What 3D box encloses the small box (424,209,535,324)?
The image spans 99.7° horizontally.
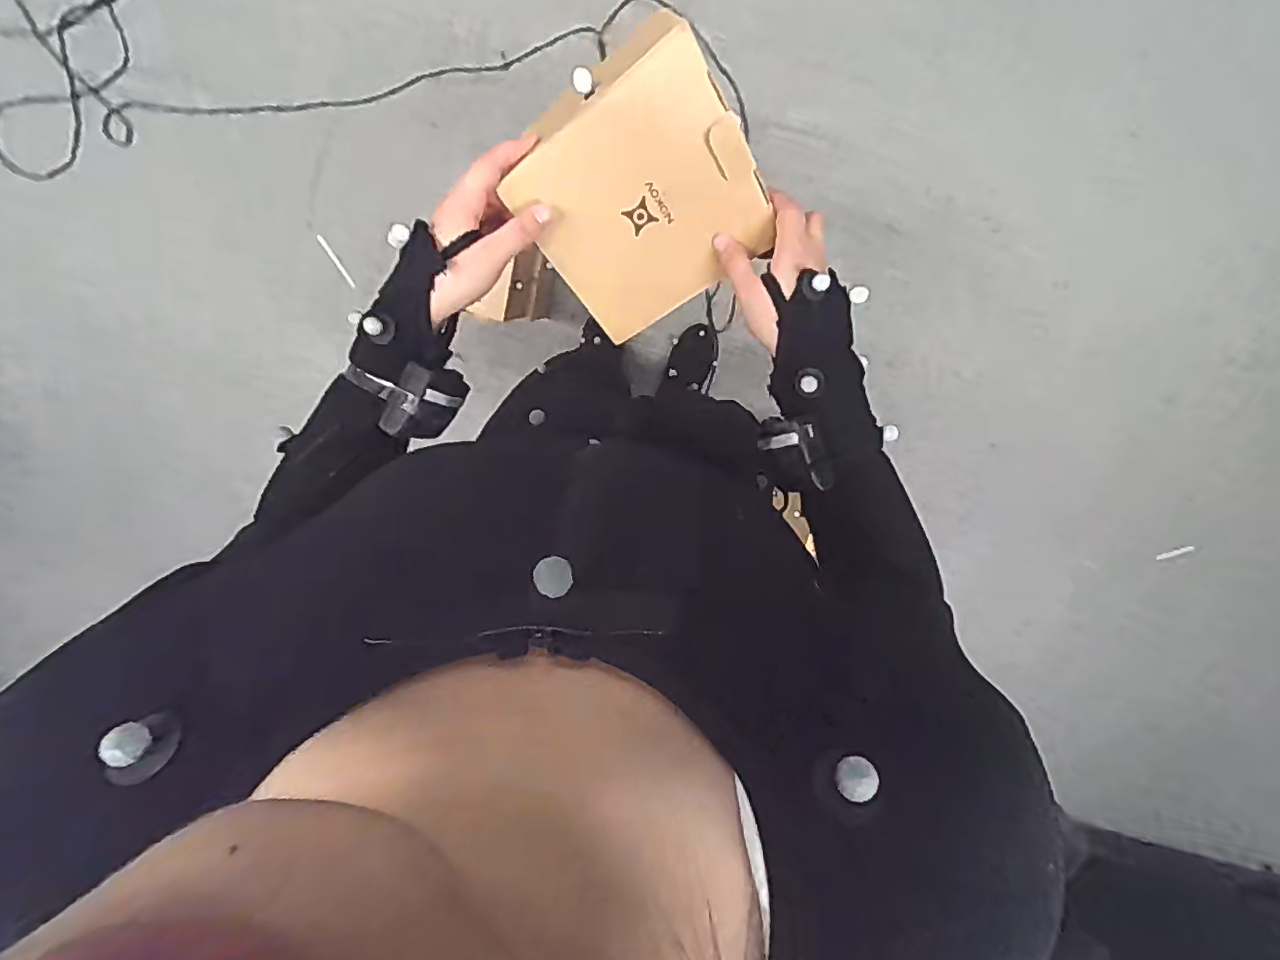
[{"bbox_3d":[-0.325,-0.436,1.117,0.168,0.176,0.179,14,109,-3],"label":"small box"}]

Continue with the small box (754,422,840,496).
[{"bbox_3d":[0.412,-0.044,1.418,0.179,0.176,0.168,14,112,-3],"label":"small box"}]

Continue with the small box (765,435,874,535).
[{"bbox_3d":[0.407,0.005,1.262,0.179,0.176,0.168,11,113,-3],"label":"small box"}]

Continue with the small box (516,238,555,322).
[{"bbox_3d":[-0.304,-0.484,1.273,0.168,0.176,0.179,14,111,-2],"label":"small box"}]
